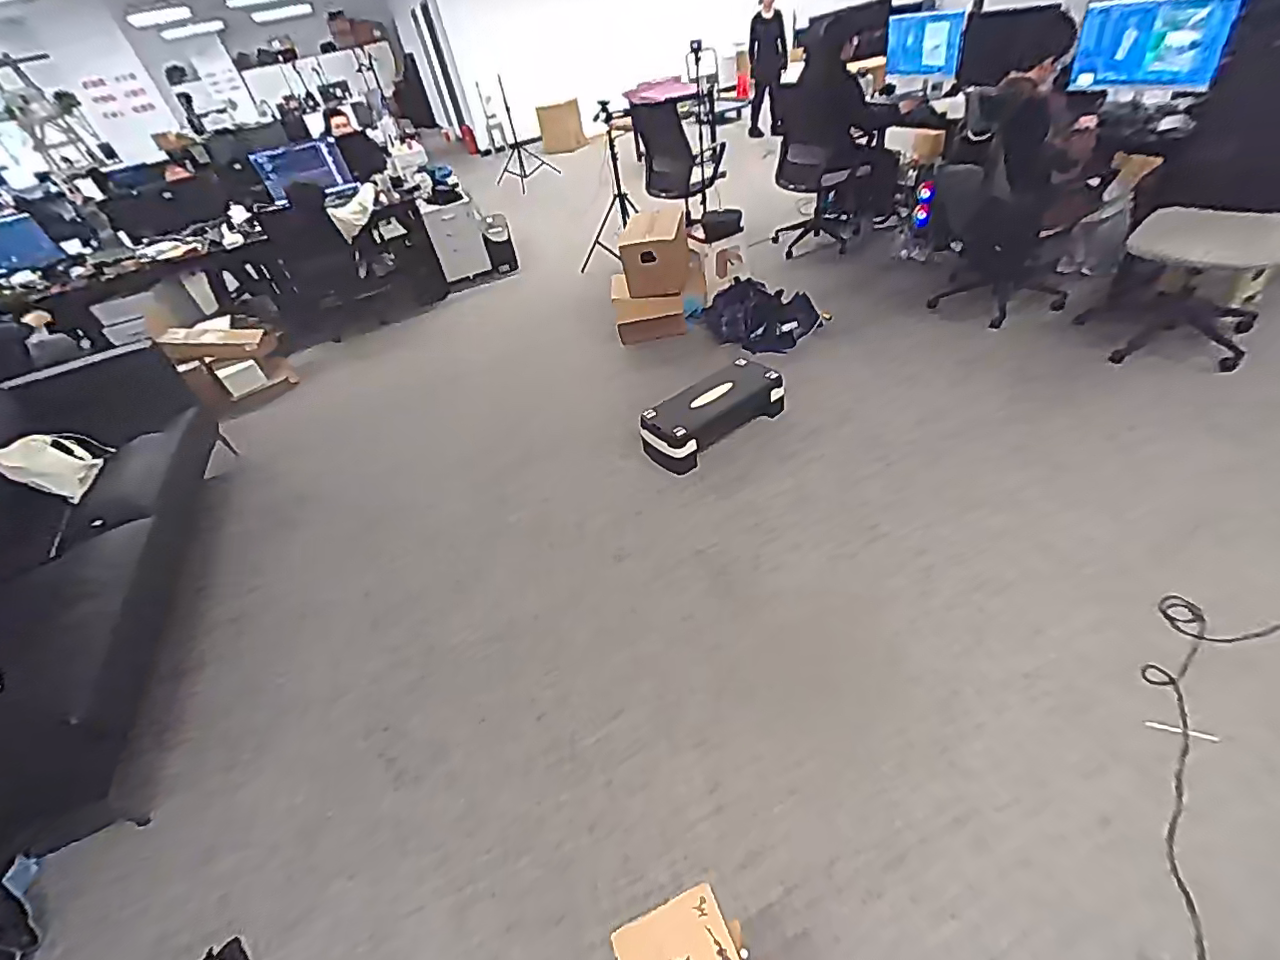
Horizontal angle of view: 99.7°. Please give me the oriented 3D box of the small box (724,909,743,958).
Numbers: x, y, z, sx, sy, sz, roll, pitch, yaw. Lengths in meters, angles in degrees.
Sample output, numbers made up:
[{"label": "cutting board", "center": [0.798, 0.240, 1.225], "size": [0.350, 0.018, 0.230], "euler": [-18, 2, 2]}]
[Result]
[{"label": "small box", "center": [0.098, 0.890, 0.973], "size": [0.168, 0.176, 0.179], "euler": [-4, 45, 12]}]

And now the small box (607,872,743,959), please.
[{"label": "small box", "center": [0.070, 0.773, 0.861], "size": [0.179, 0.176, 0.168], "euler": [-23, 43, -8]}]
